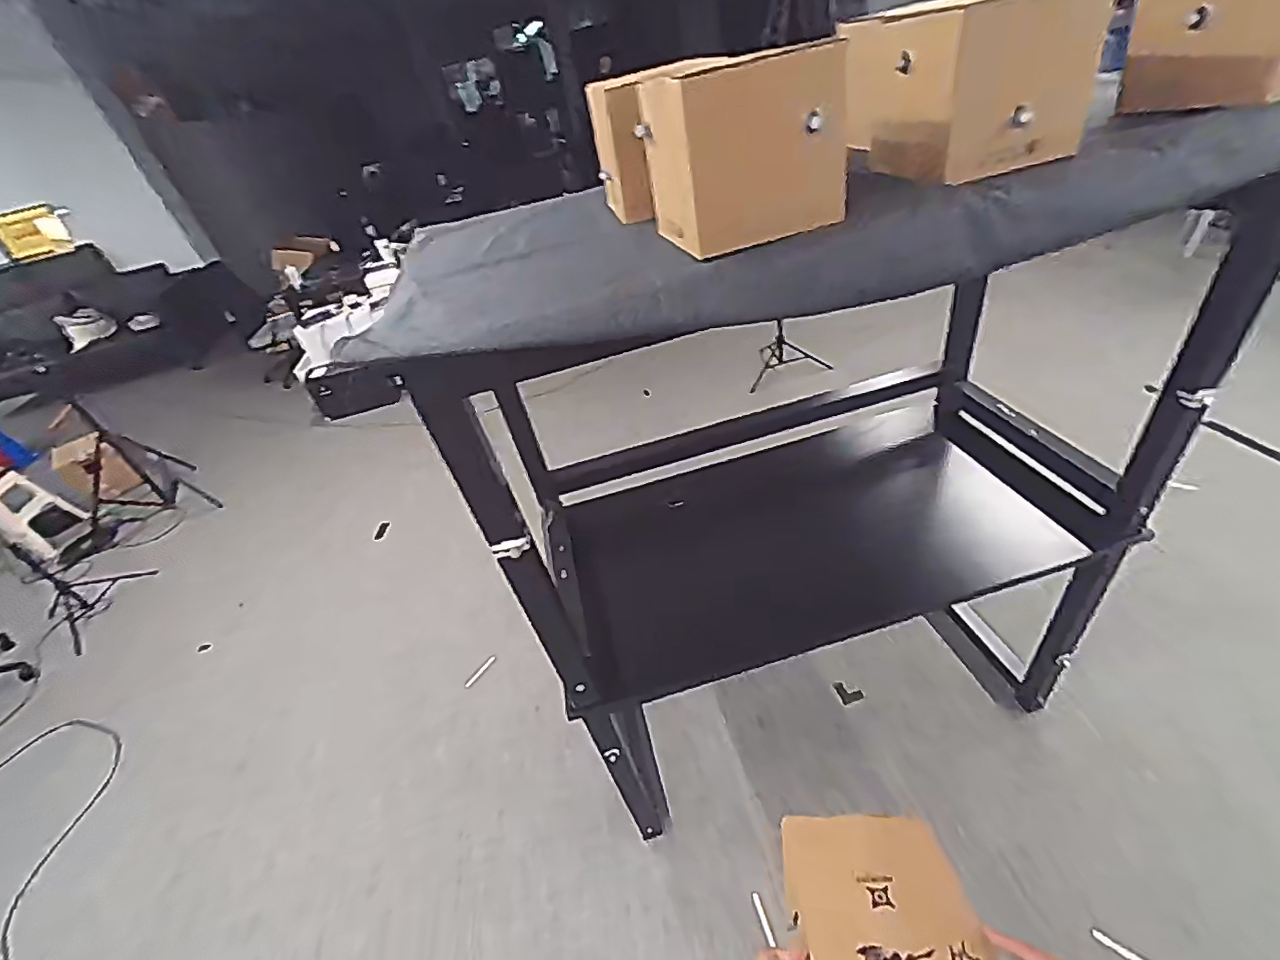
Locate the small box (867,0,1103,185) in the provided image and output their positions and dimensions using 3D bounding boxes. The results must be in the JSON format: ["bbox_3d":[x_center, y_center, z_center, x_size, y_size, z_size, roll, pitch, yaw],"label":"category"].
[{"bbox_3d":[0.392,-0.471,0.653,0.168,0.176,0.179,-15,37,-1],"label":"small box"}]

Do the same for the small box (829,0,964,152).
[{"bbox_3d":[0.408,-0.615,0.827,0.168,0.176,0.179,-17,39,-6],"label":"small box"}]

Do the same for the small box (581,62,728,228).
[{"bbox_3d":[0.025,-0.499,0.805,0.179,0.176,0.168,-17,39,-3],"label":"small box"}]

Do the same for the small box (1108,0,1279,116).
[{"bbox_3d":[0.724,-0.556,0.645,0.168,0.176,0.179,-20,33,-7],"label":"small box"}]

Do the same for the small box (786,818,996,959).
[{"bbox_3d":[0.250,0.495,0.566,0.168,0.176,0.179,-5,15,6],"label":"small box"}]
